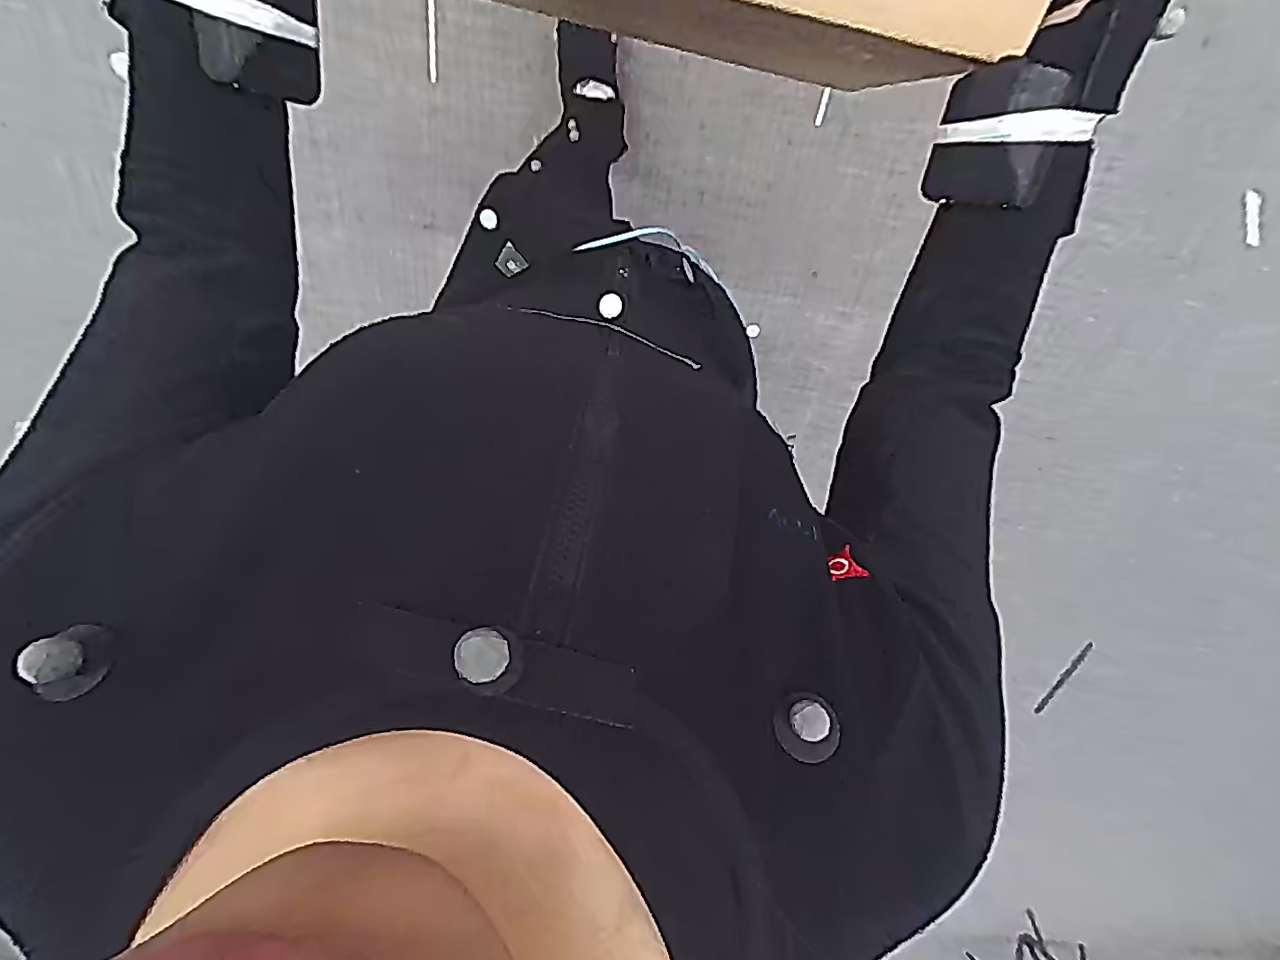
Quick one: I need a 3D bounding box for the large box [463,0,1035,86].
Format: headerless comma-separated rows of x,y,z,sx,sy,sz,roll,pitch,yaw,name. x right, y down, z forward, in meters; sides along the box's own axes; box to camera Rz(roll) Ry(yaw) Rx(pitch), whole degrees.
0.038,-0.469,0.323,0.408,0.320,0.320,10,125,-4,large box
